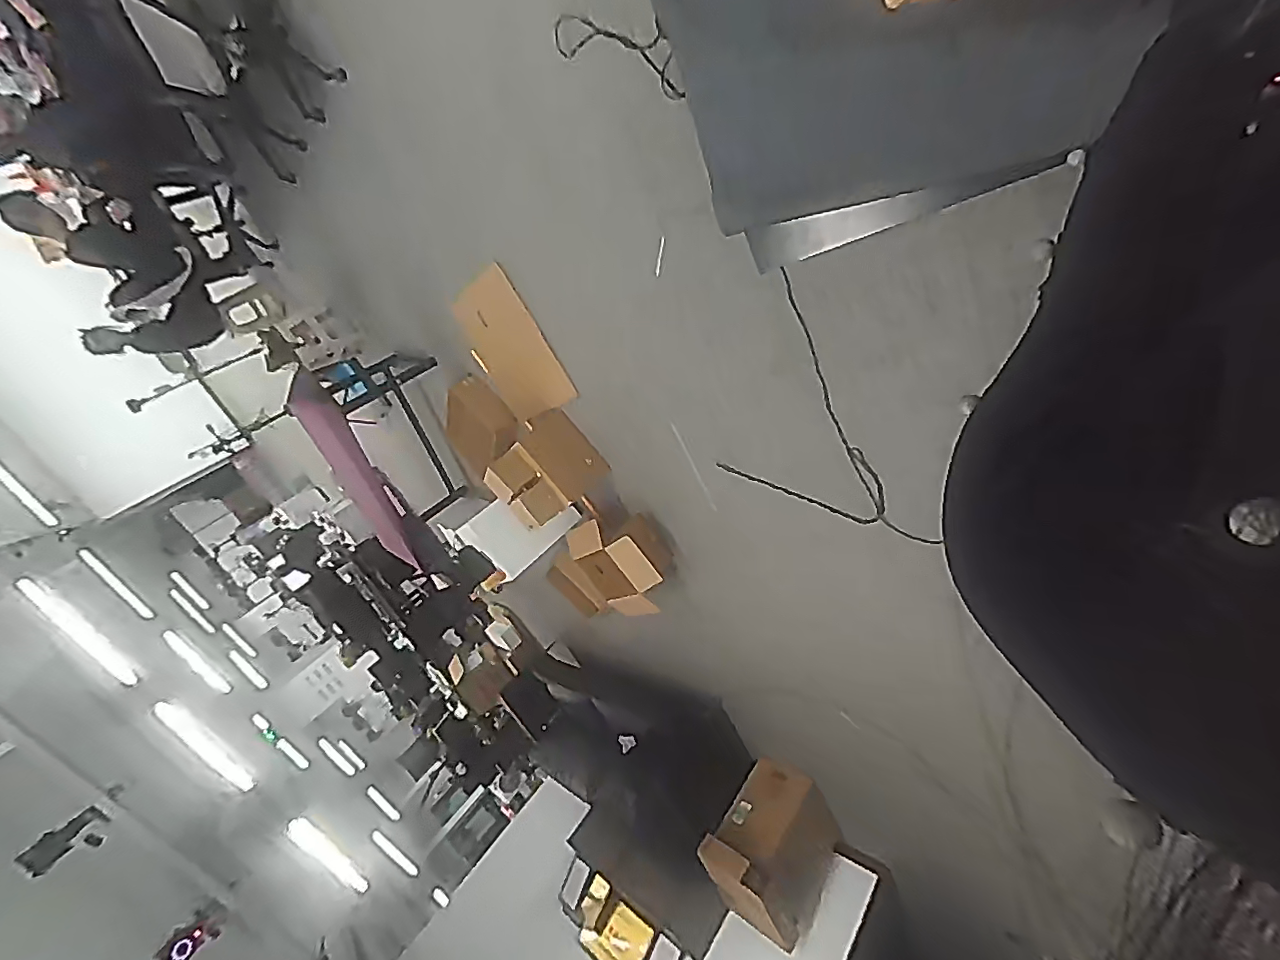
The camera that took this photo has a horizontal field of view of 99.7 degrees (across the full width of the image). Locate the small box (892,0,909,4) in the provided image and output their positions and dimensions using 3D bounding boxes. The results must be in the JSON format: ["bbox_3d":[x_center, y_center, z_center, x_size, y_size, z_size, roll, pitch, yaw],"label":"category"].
[{"bbox_3d":[0.271,-0.503,0.396,0.168,0.176,0.179,-4,121,51],"label":"small box"}]
